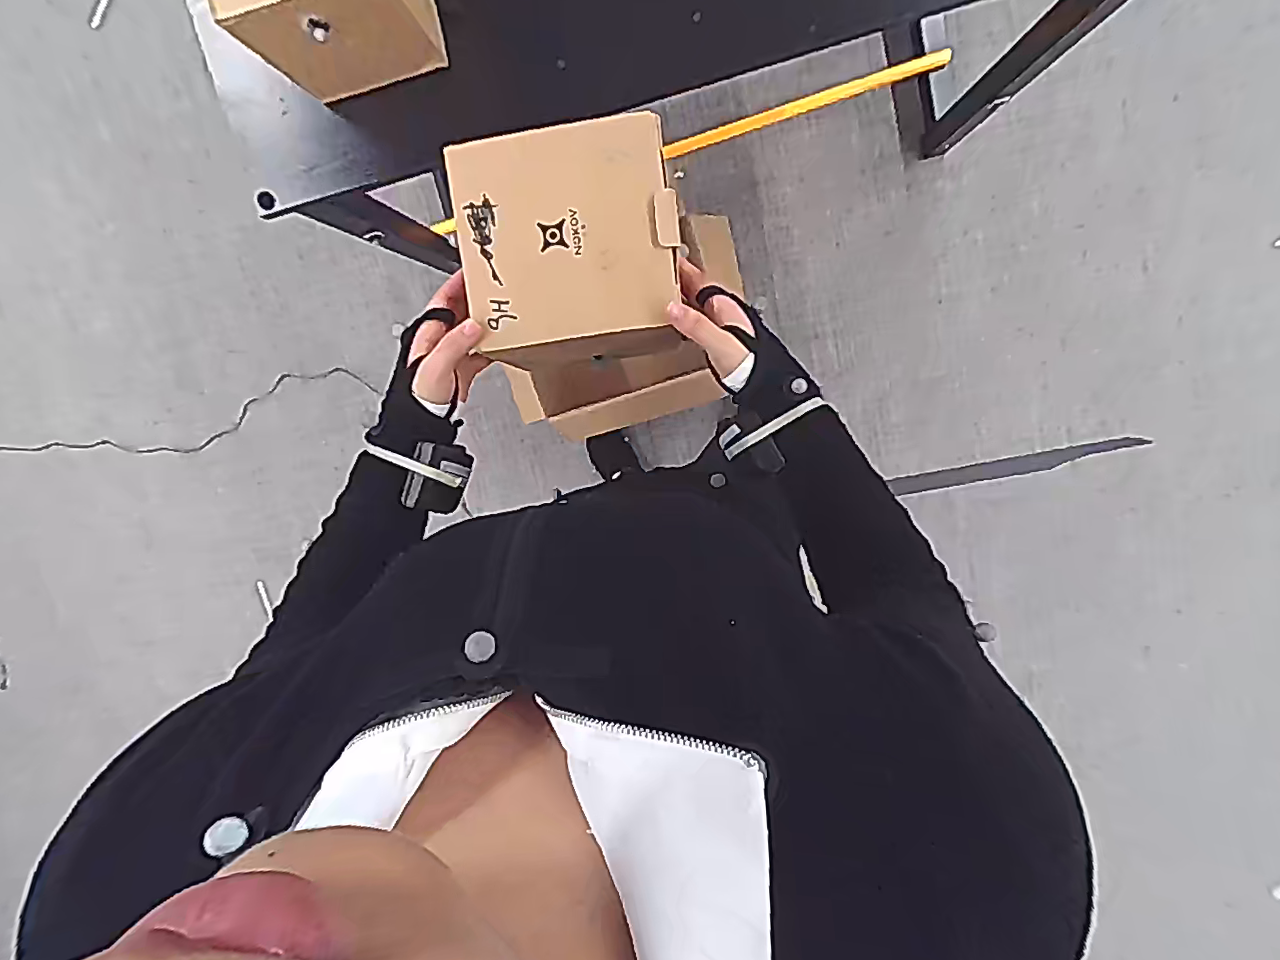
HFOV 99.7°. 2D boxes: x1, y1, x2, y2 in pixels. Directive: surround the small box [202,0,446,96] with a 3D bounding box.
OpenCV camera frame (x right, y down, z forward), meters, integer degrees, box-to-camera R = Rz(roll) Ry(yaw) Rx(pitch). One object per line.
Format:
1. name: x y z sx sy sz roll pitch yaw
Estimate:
1. small box: -0.336 -0.544 0.565 0.179 0.176 0.168 -12 101 6
